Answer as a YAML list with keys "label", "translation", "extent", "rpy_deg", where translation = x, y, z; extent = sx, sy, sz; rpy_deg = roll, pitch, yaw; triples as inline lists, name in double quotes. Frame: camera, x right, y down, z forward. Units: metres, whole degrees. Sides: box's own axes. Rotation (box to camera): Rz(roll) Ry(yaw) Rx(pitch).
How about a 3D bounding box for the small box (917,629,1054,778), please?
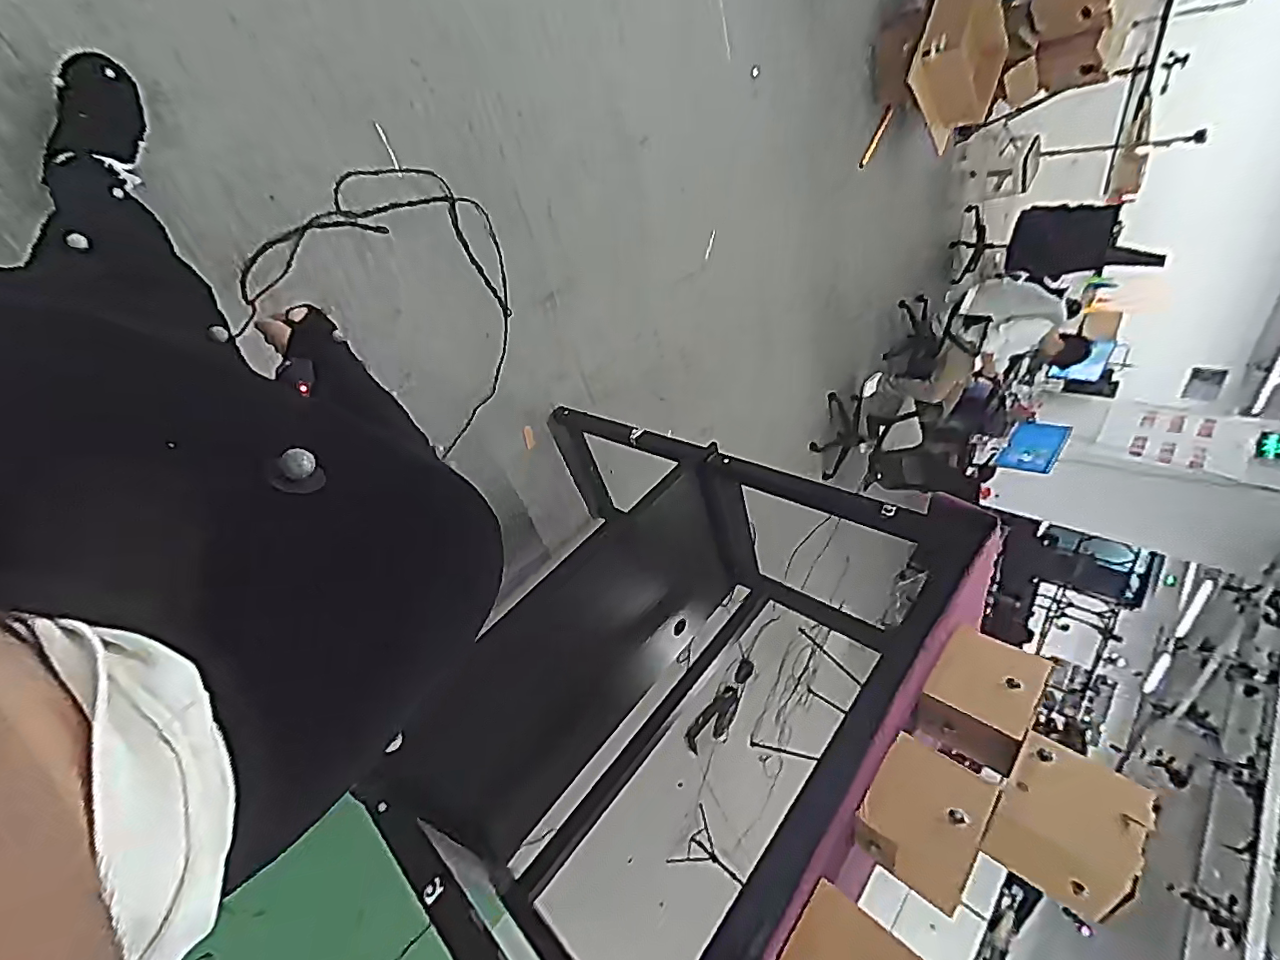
- label: "small box"
  translation: [0.657, 0.421, 1.041]
  extent: [0.179, 0.176, 0.168]
  rpy_deg: [-44, 133, -25]

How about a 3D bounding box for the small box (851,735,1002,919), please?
- label: "small box"
  translation: [0.477, 0.575, 0.915]
  extent: [0.179, 0.176, 0.168]
  rpy_deg: [-42, 133, -27]

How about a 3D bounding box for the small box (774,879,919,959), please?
- label: "small box"
  translation: [0.295, 0.746, 0.791]
  extent: [0.179, 0.176, 0.168]
  rpy_deg: [-43, 134, -28]

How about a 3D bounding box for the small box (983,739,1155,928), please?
- label: "small box"
  translation: [0.679, 0.557, 0.873]
  extent: [0.168, 0.176, 0.179]
  rpy_deg: [-40, 133, -28]
